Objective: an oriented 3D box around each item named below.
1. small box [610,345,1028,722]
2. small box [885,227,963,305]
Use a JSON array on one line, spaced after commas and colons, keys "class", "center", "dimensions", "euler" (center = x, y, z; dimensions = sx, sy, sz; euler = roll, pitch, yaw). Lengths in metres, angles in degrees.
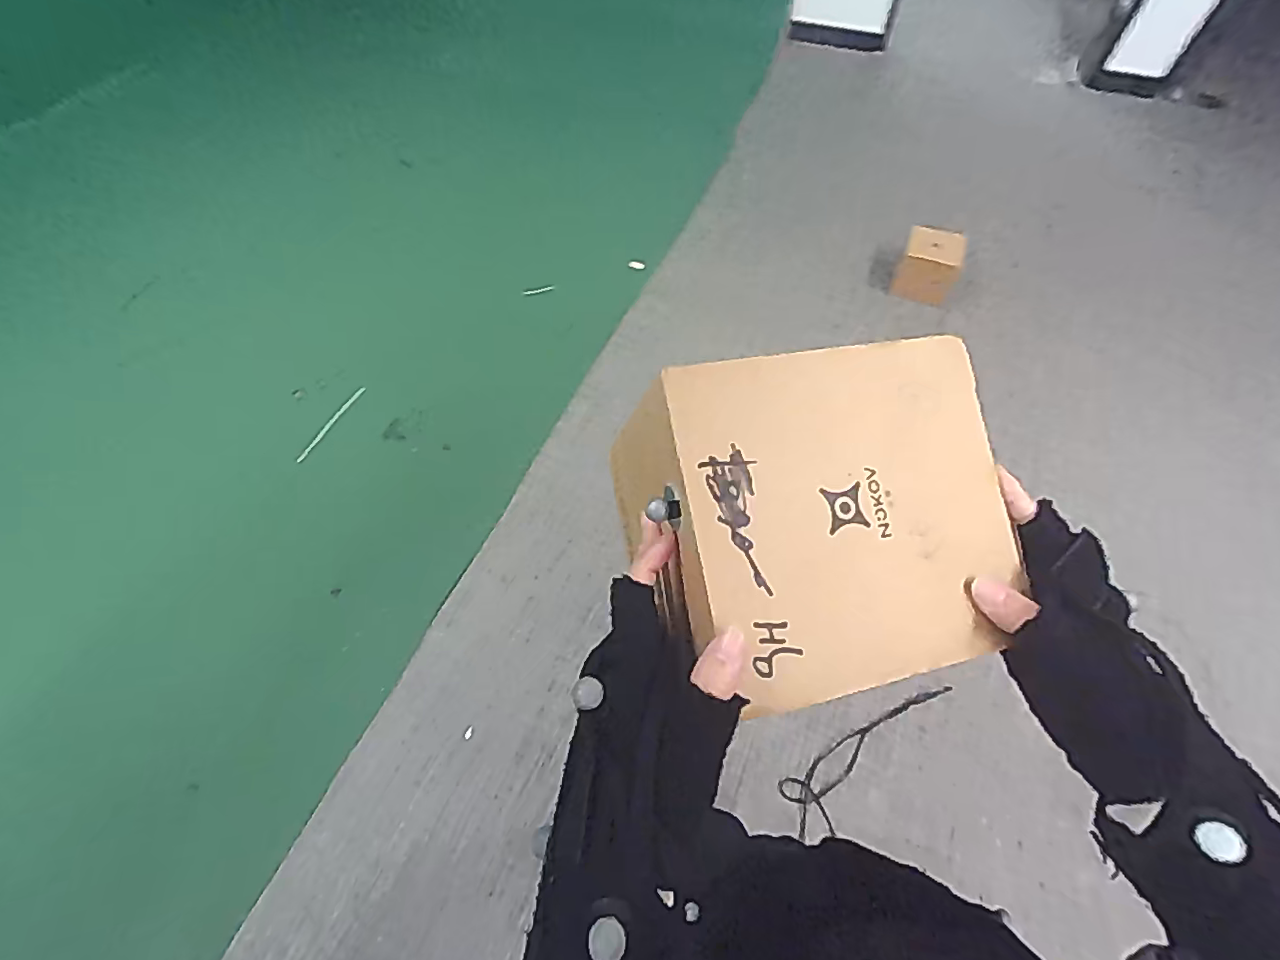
[{"class": "small box", "center": [0.090, 0.029, 0.350], "dimensions": [0.179, 0.176, 0.168], "euler": [-11, 83, -13]}, {"class": "small box", "center": [0.964, -0.725, 1.844], "dimensions": [0.179, 0.176, 0.168], "euler": [18, 62, 13]}]
